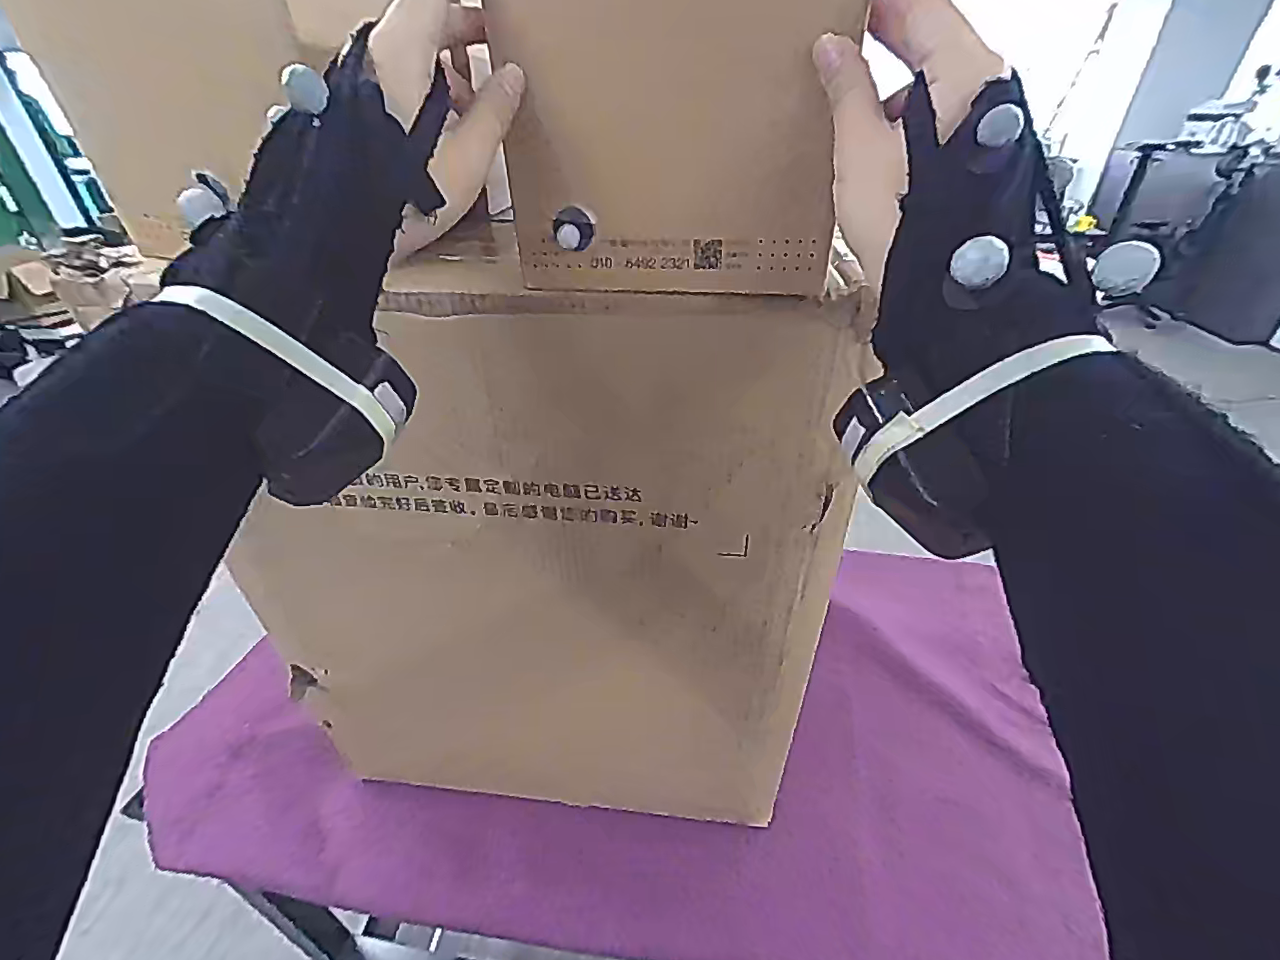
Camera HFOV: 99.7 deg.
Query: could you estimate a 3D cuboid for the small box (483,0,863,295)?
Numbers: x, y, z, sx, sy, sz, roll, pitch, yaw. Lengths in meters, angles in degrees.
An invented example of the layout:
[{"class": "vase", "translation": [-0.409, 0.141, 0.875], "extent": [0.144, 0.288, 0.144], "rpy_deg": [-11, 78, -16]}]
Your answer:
[{"class": "small box", "translation": [0.028, -0.214, 0.315], "extent": [0.168, 0.176, 0.179], "rpy_deg": [4, 35, 9]}]
